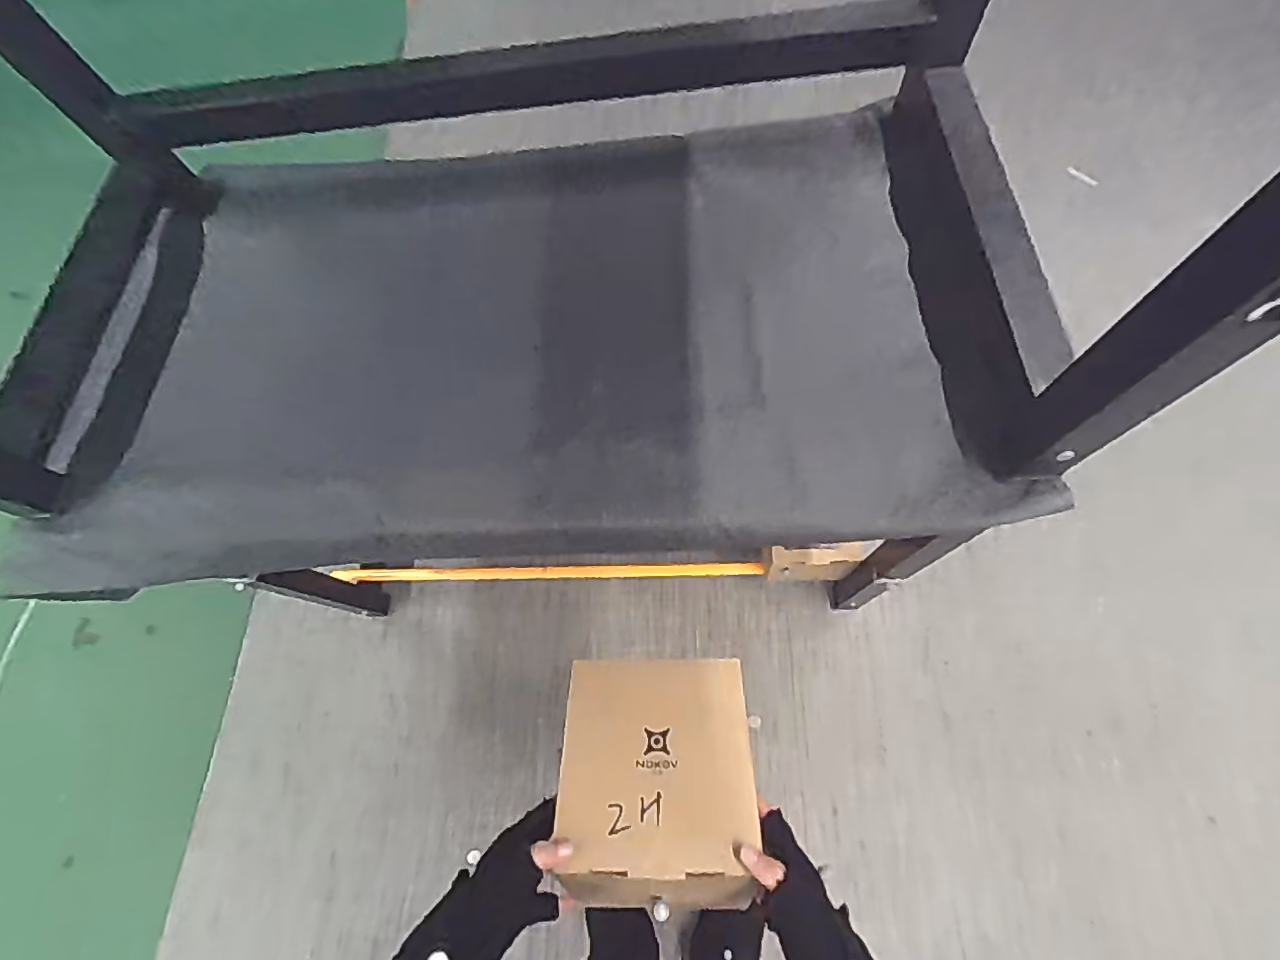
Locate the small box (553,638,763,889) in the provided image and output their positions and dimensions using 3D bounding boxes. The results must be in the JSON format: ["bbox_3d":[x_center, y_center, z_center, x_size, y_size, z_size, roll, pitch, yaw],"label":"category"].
[{"bbox_3d":[0.020,0.275,0.529,0.168,0.176,0.179,-2,45,4],"label":"small box"}]
